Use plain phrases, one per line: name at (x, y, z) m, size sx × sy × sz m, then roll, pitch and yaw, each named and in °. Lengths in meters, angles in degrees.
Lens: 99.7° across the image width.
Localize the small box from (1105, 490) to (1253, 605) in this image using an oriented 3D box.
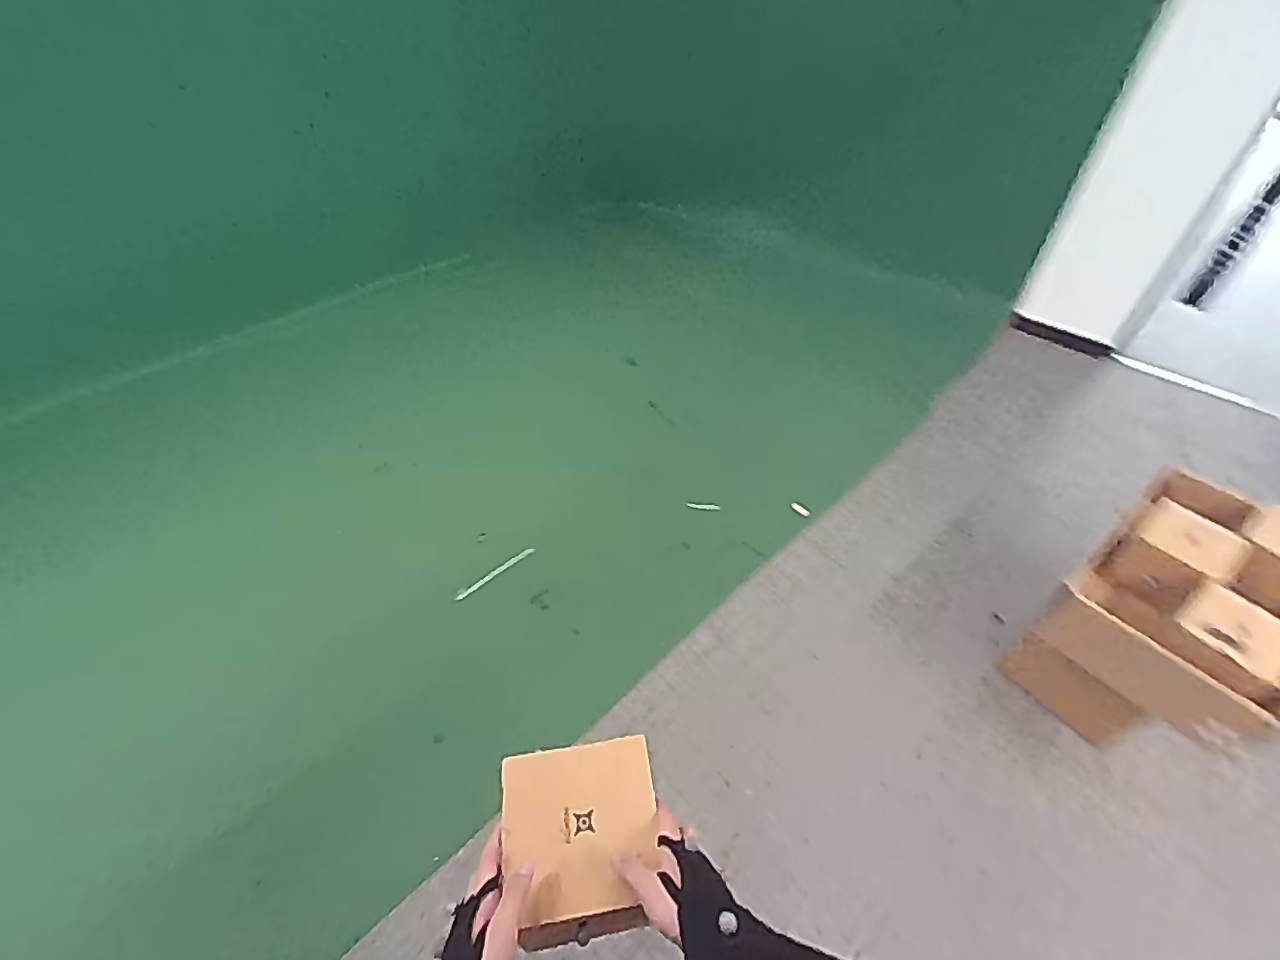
small box at (1.269, 0.164, 1.288) m, size 0.179 × 0.176 × 0.168 m, roll -32°, pitch 54°, yaw -22°

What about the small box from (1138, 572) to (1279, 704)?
small box at (1.213, 0.334, 1.137) m, size 0.179 × 0.176 × 0.168 m, roll -30°, pitch 53°, yaw -21°
